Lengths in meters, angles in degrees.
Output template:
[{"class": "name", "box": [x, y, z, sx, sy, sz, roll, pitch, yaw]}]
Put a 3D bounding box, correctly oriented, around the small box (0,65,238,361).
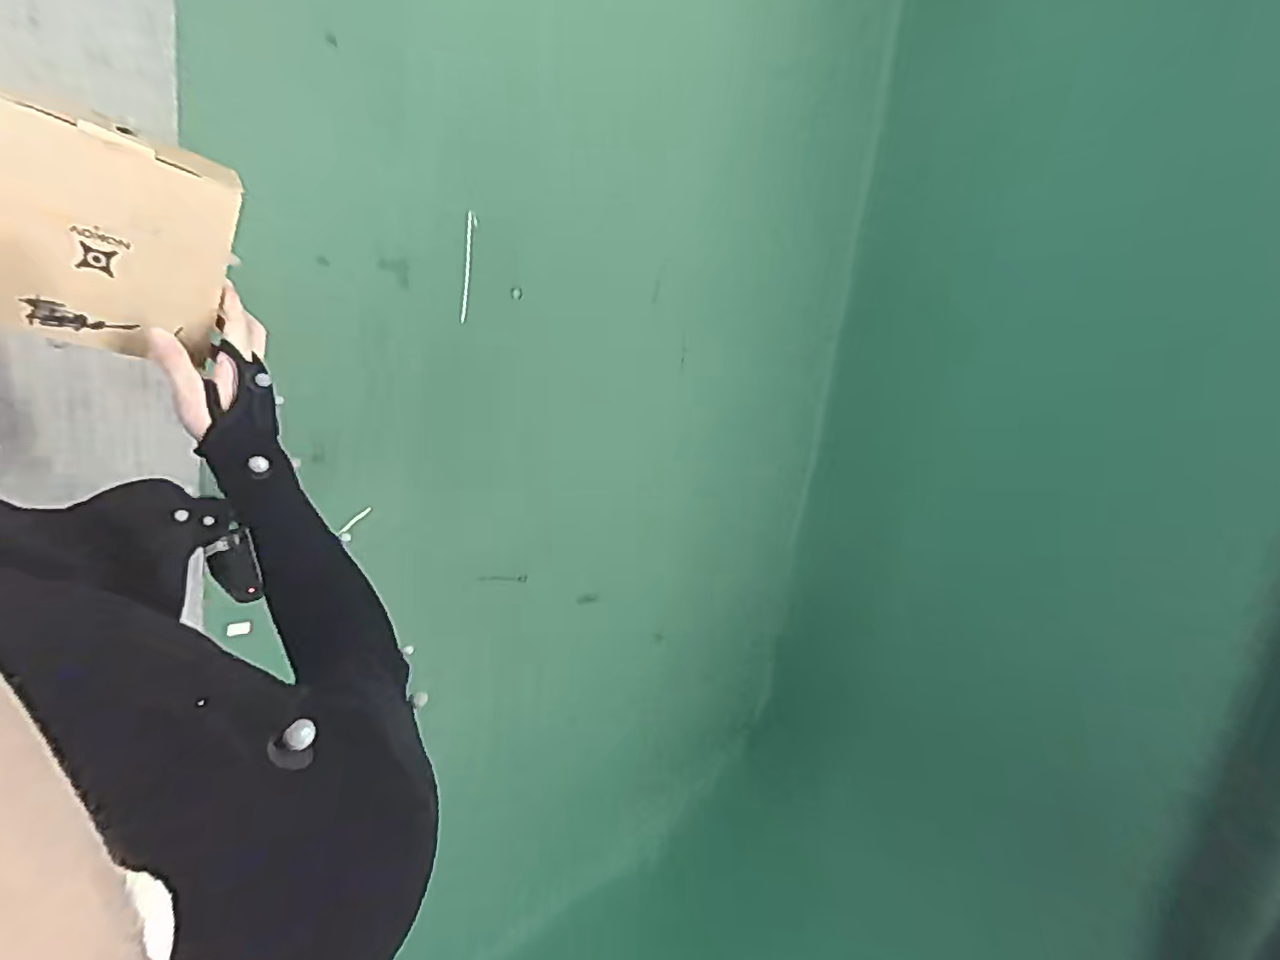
[{"class": "small box", "box": [-0.488, -0.238, 0.488, 0.168, 0.176, 0.179, 10, 114, -44]}]
